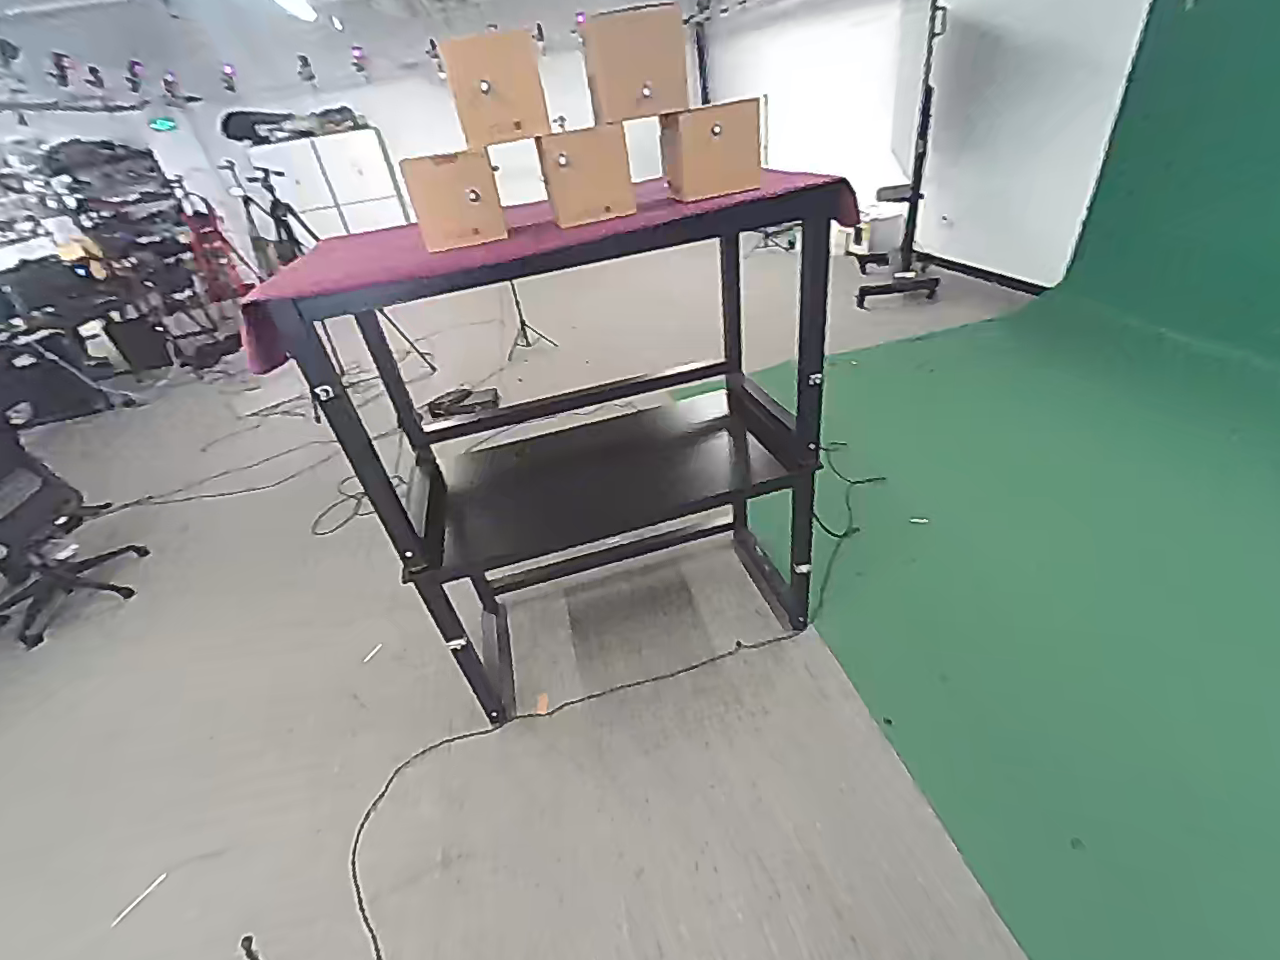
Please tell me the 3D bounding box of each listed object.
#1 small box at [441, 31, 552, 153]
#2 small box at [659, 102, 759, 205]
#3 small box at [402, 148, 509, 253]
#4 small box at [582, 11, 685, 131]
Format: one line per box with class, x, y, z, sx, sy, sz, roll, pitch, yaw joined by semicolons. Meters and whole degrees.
small box;-0.279;-0.755;1.070;0.168;0.176;0.179;-16;34;-7
small box;0.155;-0.723;1.205;0.179;0.176;0.168;-14;34;-7
small box;-0.375;-0.584;1.133;0.168;0.176;0.179;-13;34;-7
small box;-0.010;-0.820;1.095;0.179;0.176;0.168;-13;33;-6
